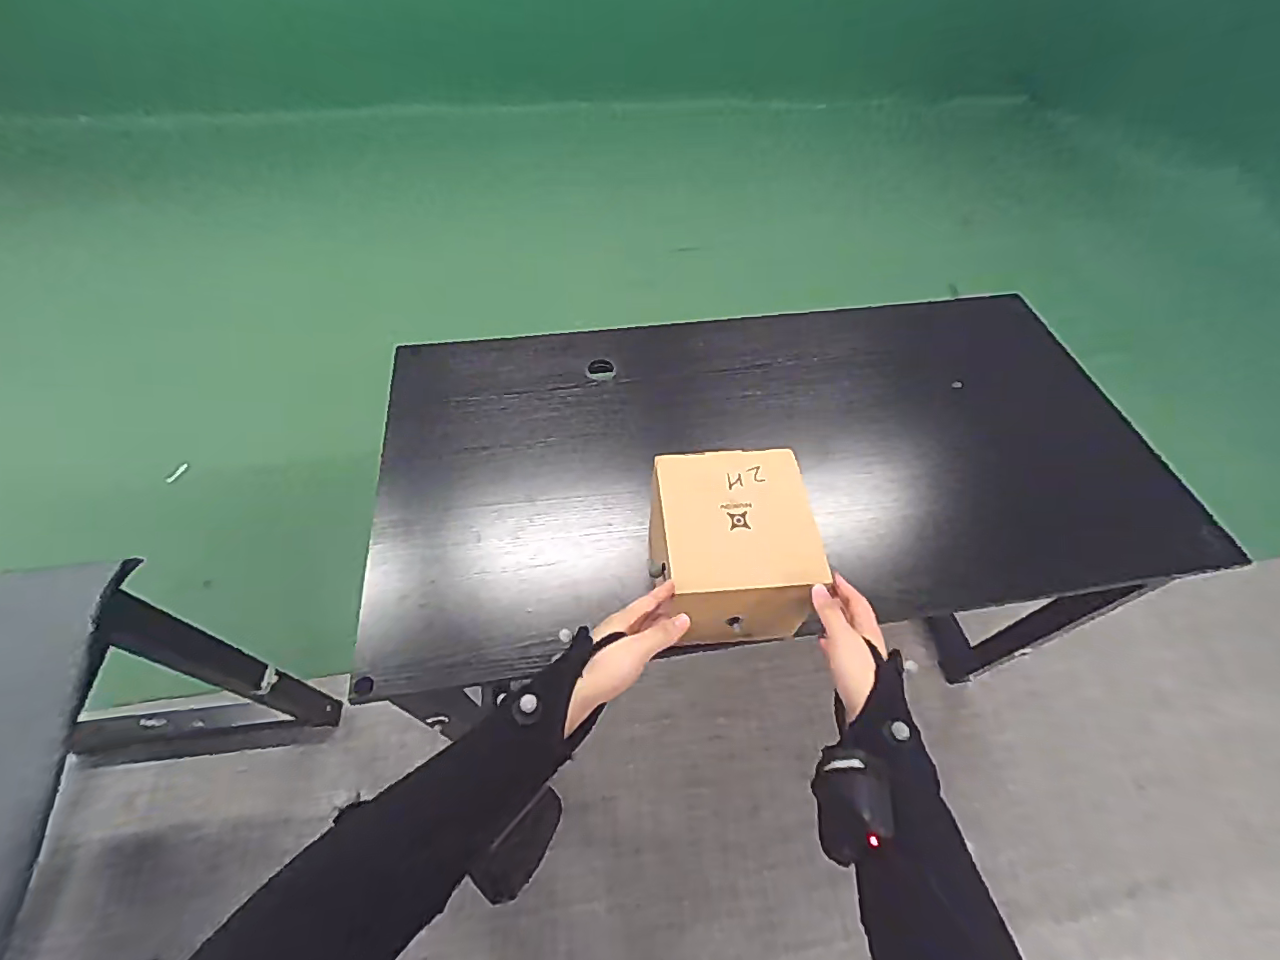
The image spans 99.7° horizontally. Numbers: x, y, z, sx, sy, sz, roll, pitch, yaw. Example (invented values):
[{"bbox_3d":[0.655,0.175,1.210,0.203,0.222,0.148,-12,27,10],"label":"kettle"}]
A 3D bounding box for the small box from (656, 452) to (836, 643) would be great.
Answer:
[{"bbox_3d":[0.110,0.088,0.650,0.168,0.176,0.179,-3,55,-4],"label":"small box"}]
